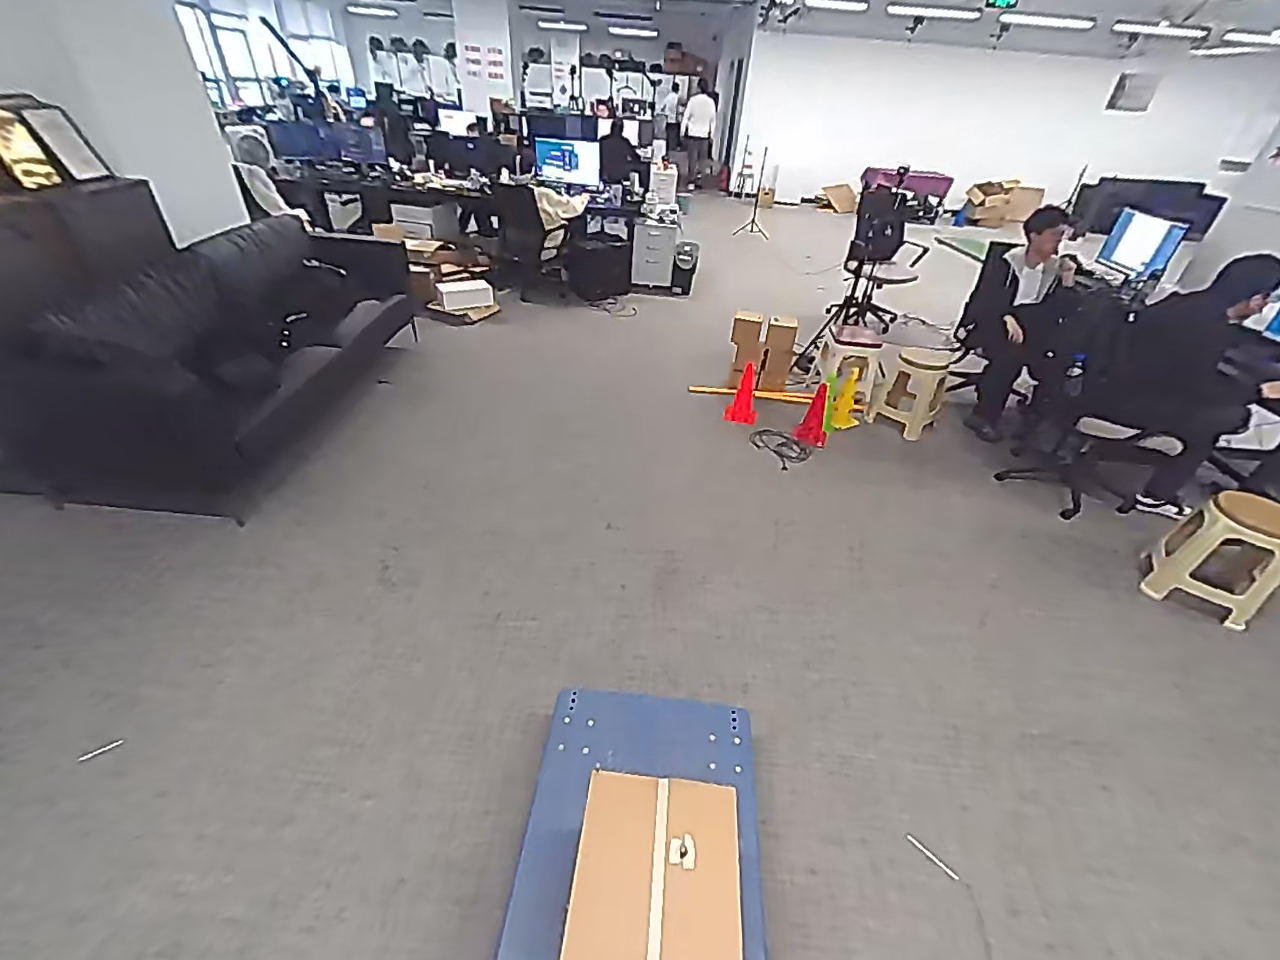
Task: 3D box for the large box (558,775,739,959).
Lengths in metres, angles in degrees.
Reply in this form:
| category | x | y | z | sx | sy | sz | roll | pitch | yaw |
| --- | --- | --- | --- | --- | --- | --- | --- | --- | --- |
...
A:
| category | x | y | z | sx | sy | sz | roll | pitch | yaw |
| --- | --- | --- | --- | --- | --- | --- | --- | --- | --- |
| large box | 0.016 | 0.885 | 1.086 | 0.320 | 0.320 | 0.408 | 6 | 35 | 2 |
